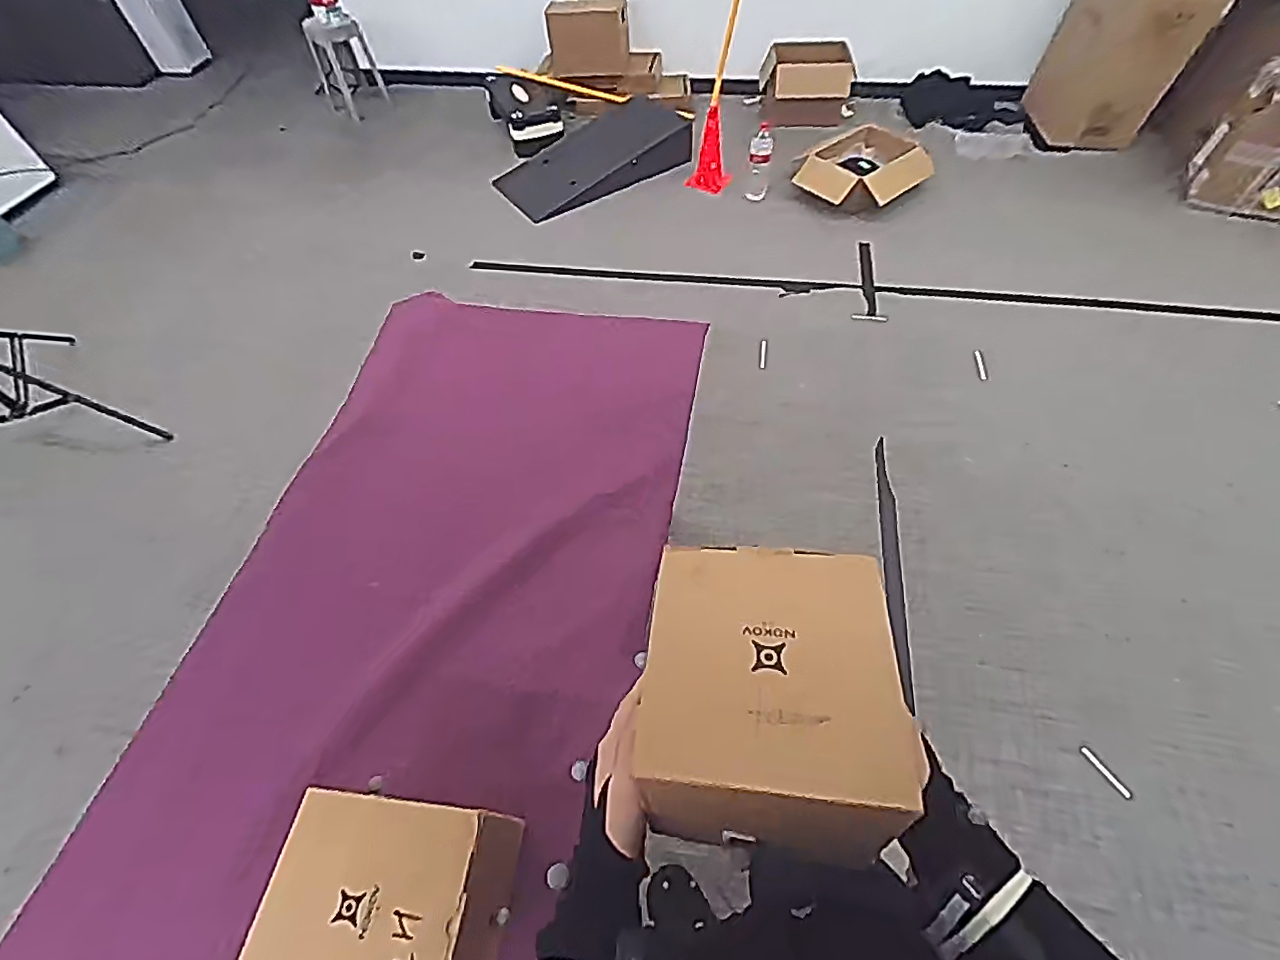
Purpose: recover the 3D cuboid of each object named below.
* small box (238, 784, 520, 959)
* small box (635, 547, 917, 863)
[{"bbox_3d":[-0.235,0.409,0.525,0.179,0.176,0.168,4,56,6],"label":"small box"},{"bbox_3d":[0.095,0.175,0.430,0.168,0.176,0.179,1,47,10],"label":"small box"}]
